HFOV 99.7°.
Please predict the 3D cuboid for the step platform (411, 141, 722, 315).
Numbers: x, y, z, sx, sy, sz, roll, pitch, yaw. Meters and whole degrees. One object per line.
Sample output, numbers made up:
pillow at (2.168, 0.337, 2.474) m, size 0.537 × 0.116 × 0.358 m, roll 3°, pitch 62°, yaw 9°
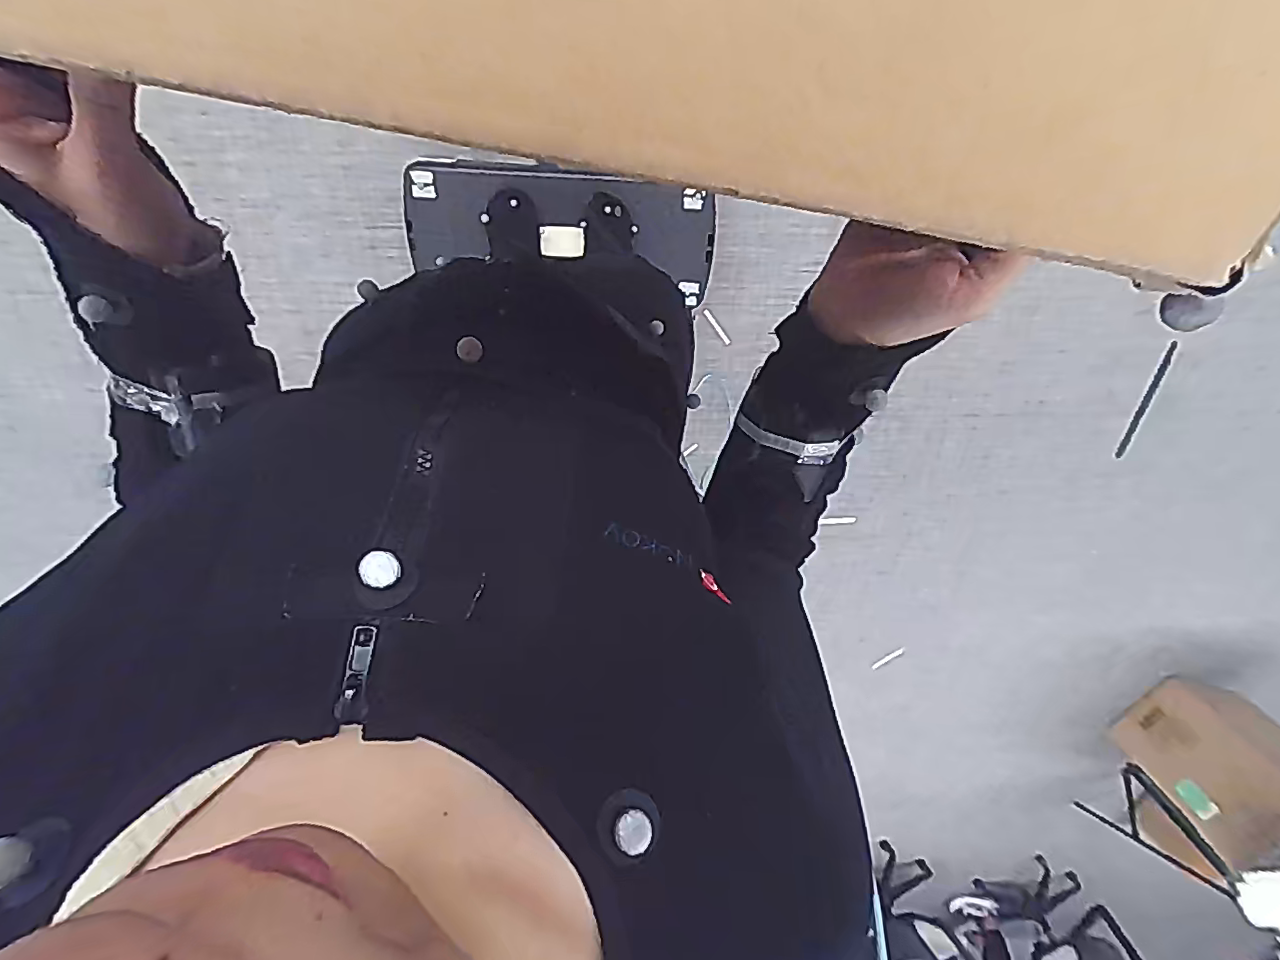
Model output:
step platform at (-0.159, -0.571, 1.249) m, size 0.684 × 0.204 × 0.286 m, roll 4°, pitch 120°, yaw -8°
